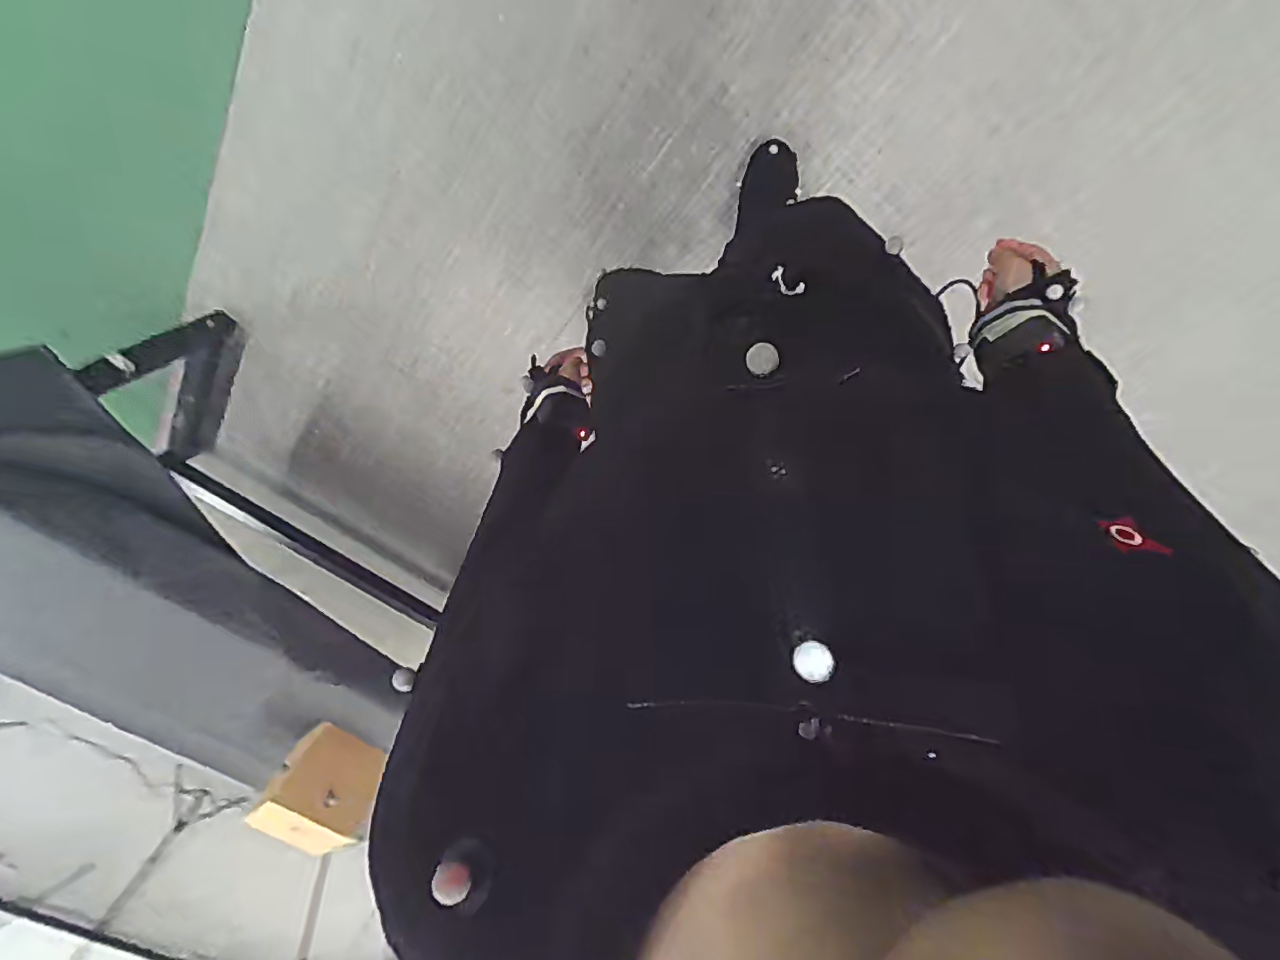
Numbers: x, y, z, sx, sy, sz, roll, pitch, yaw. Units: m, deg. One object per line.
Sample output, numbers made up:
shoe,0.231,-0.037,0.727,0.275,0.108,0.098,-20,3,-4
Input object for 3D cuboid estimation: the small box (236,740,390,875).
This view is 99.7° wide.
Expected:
small box,-0.651,0.654,1.094,0.179,0.176,0.168,41,120,-18
